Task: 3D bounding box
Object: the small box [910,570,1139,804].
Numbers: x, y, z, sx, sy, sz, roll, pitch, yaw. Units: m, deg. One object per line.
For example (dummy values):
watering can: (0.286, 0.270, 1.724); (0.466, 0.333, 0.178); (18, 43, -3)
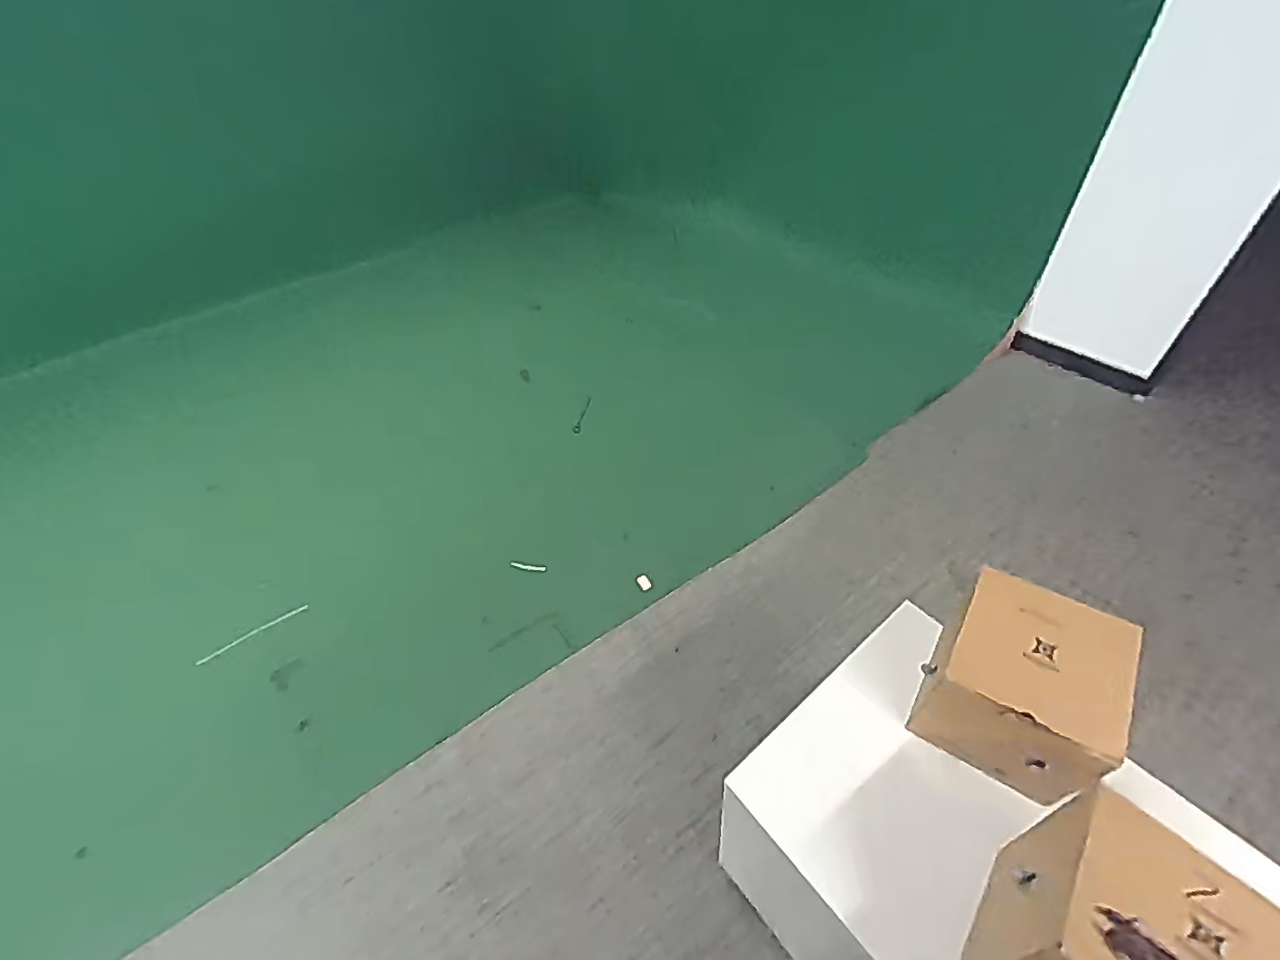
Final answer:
small box: (0.451, 0.251, 0.655); (0.168, 0.176, 0.179); (25, 54, 26)
